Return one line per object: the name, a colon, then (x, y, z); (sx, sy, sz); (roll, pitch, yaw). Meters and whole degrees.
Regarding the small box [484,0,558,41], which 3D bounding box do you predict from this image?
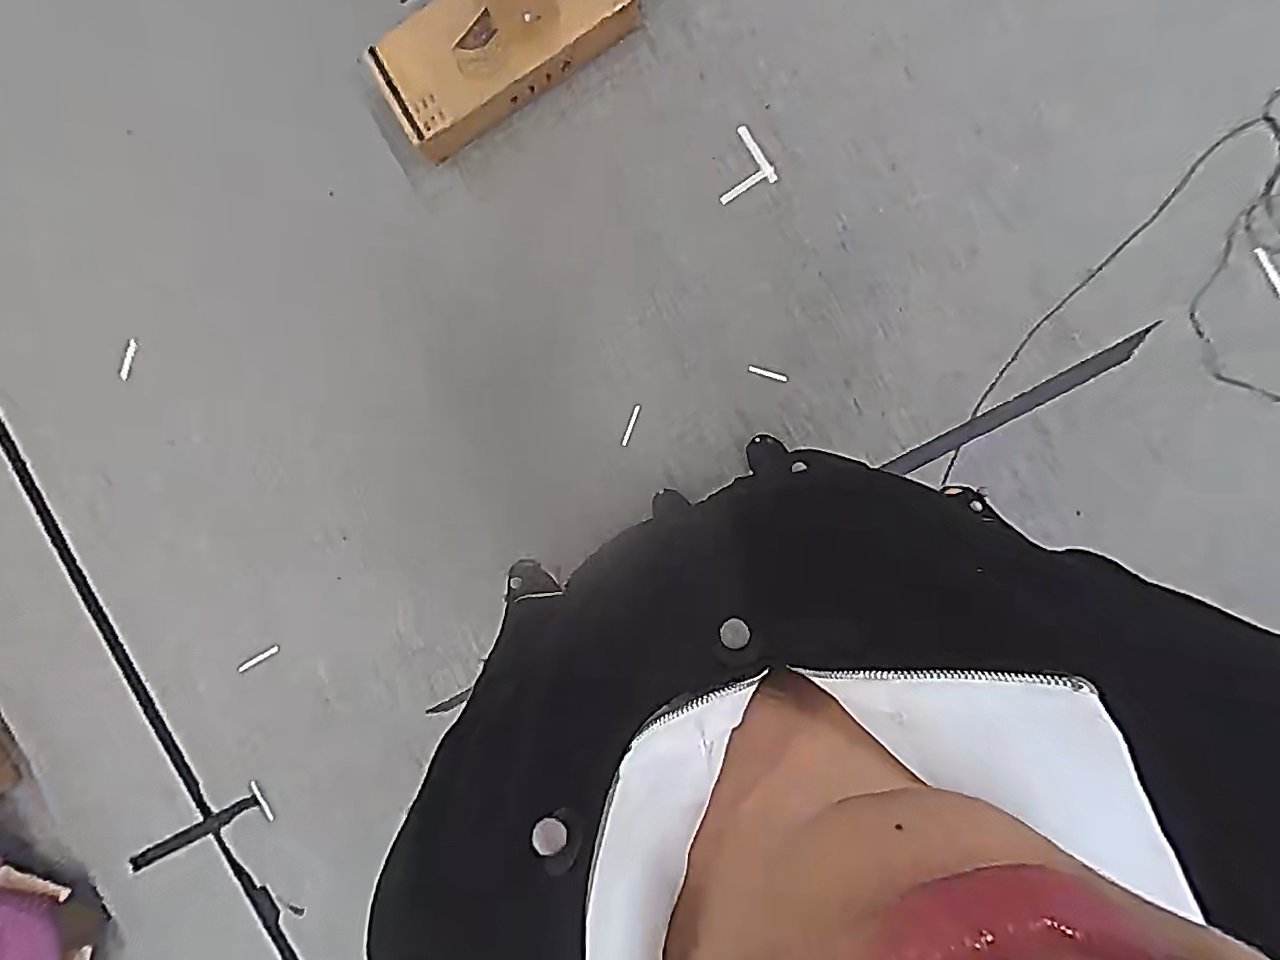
small box: (-0.323, -1.243, 1.318); (0.168, 0.176, 0.179); (-26, 90, 7)
